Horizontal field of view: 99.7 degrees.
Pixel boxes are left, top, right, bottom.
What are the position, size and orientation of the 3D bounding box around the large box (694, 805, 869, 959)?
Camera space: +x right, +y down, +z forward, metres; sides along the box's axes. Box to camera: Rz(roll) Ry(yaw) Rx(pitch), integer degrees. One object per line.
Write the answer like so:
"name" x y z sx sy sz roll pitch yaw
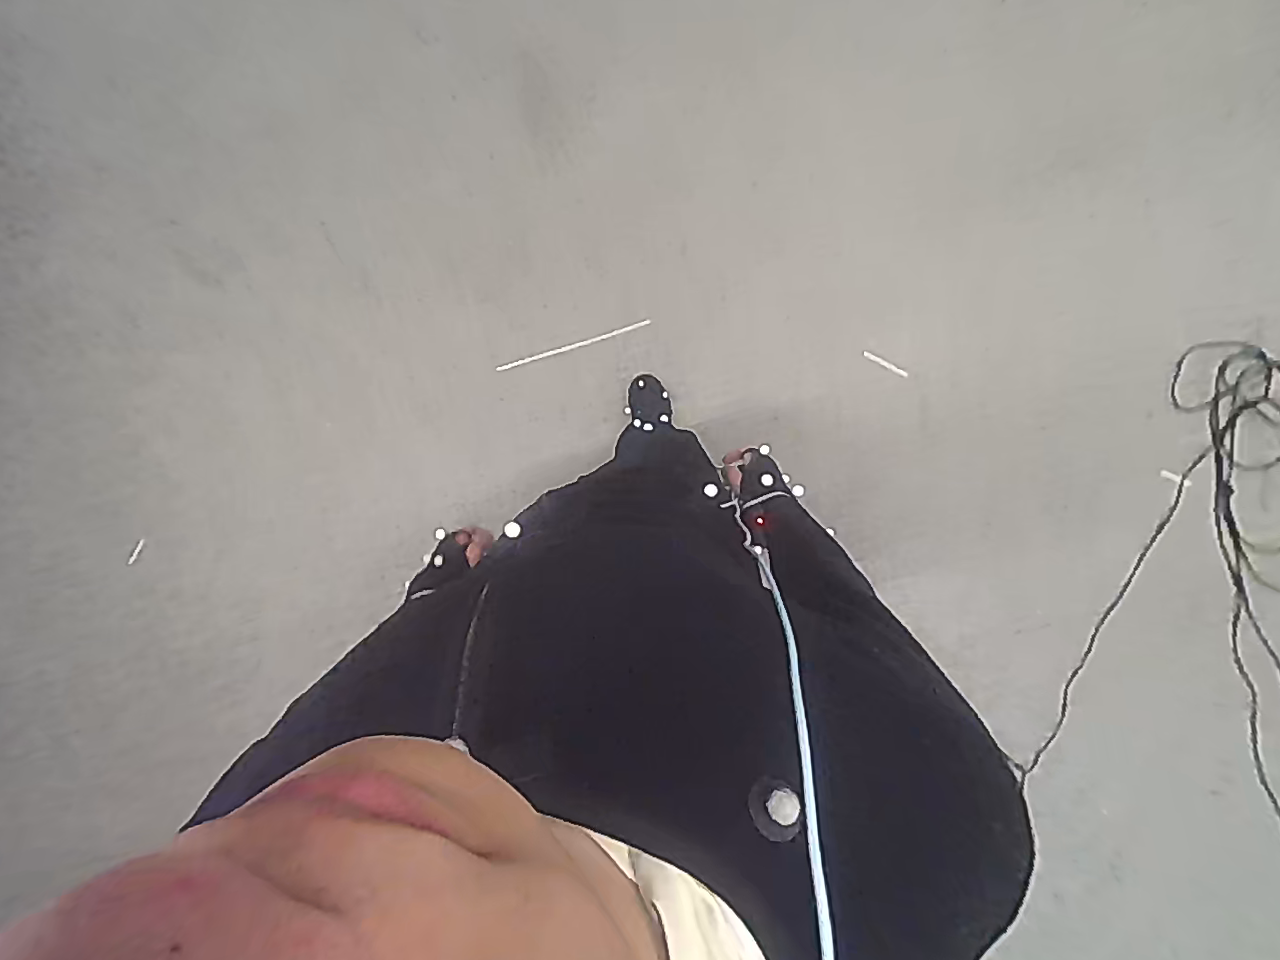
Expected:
"large box" 0.395 1.224 1.567 0.408 0.320 0.320 -17 93 5
